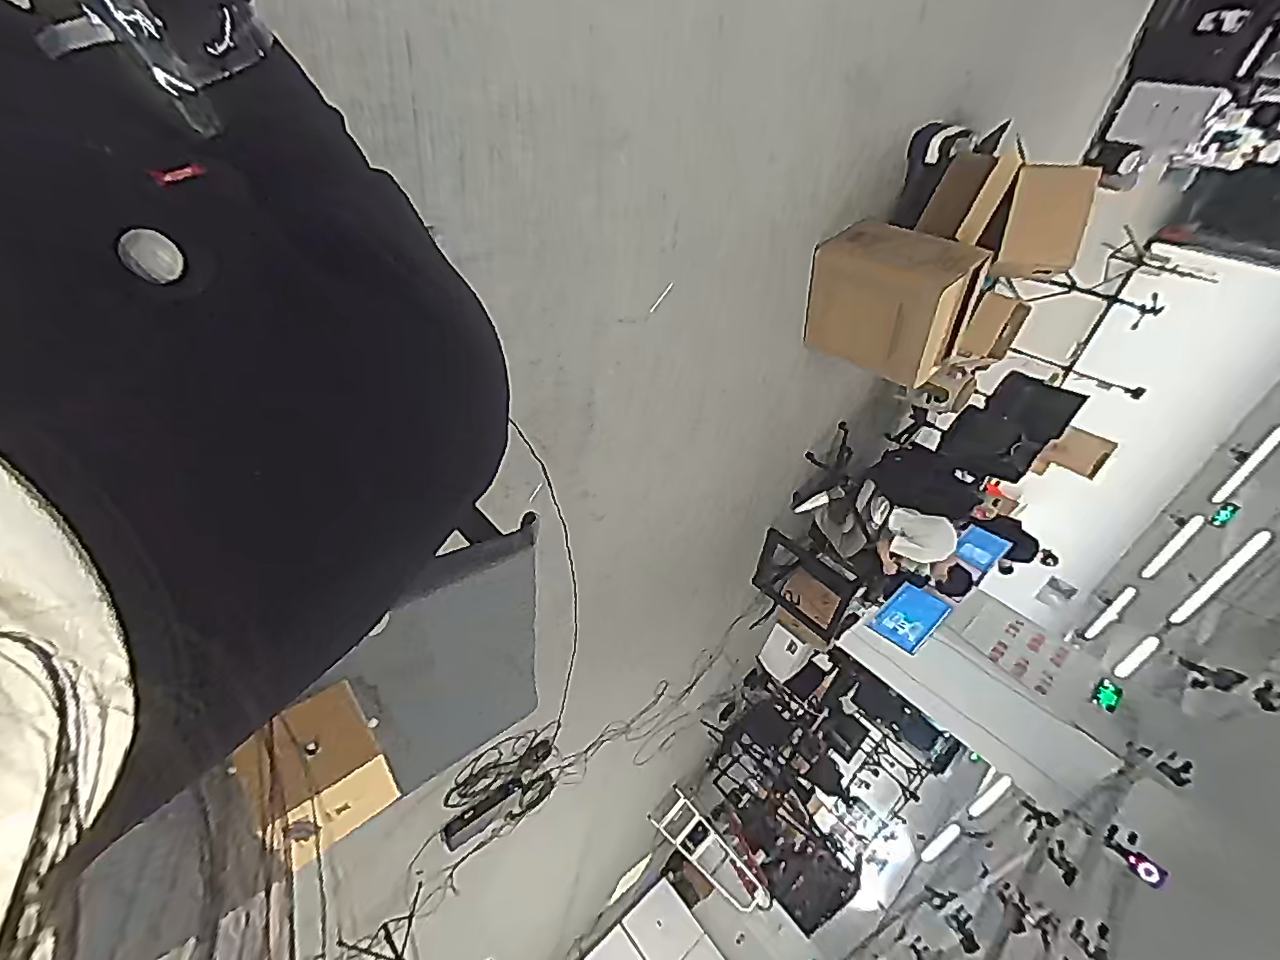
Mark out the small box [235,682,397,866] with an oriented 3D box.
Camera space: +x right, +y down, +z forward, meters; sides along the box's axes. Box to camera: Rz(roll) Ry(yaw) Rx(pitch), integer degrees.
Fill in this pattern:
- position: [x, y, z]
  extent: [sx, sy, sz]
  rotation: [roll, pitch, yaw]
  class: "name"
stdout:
- position: [-0.539, 0.479, 0.898]
  extent: [0.179, 0.176, 0.168]
  rotation: [-27, 139, -31]
  class: "small box"
